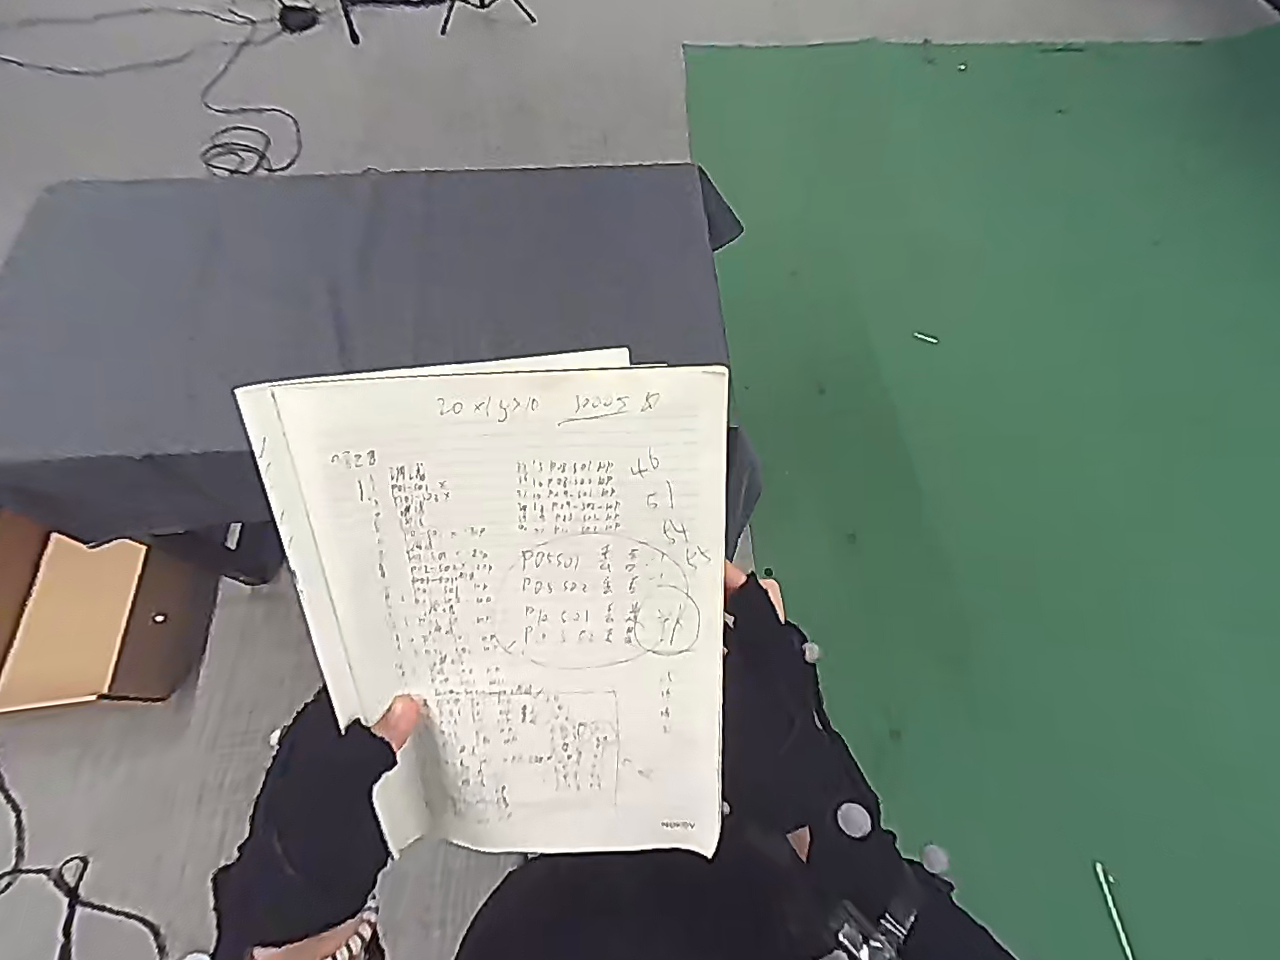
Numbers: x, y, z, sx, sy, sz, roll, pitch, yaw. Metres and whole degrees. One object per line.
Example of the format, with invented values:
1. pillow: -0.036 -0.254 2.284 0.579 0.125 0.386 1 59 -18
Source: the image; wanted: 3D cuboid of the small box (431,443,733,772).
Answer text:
1. small box: -0.037 0.087 0.405 0.168 0.176 0.179 -10 80 1
